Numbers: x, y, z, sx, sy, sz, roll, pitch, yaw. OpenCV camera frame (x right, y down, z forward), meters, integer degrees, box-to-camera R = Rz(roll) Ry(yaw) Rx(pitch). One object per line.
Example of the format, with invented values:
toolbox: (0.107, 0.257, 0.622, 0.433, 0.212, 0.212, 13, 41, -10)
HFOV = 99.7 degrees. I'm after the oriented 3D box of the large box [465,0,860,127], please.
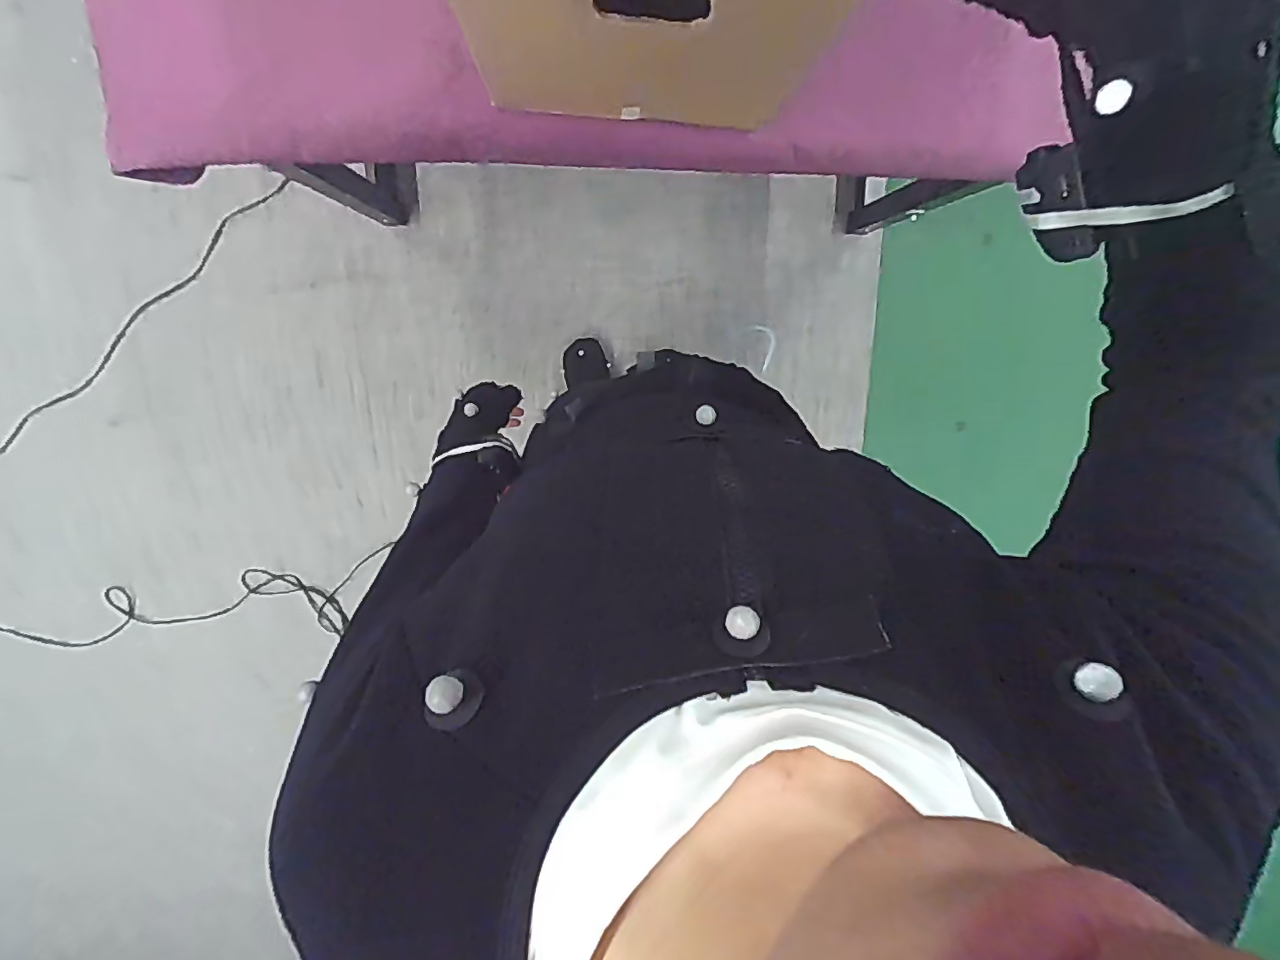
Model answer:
large box: (0.011, -0.580, 0.444, 0.320, 0.320, 0.408, 1, 105, -5)
